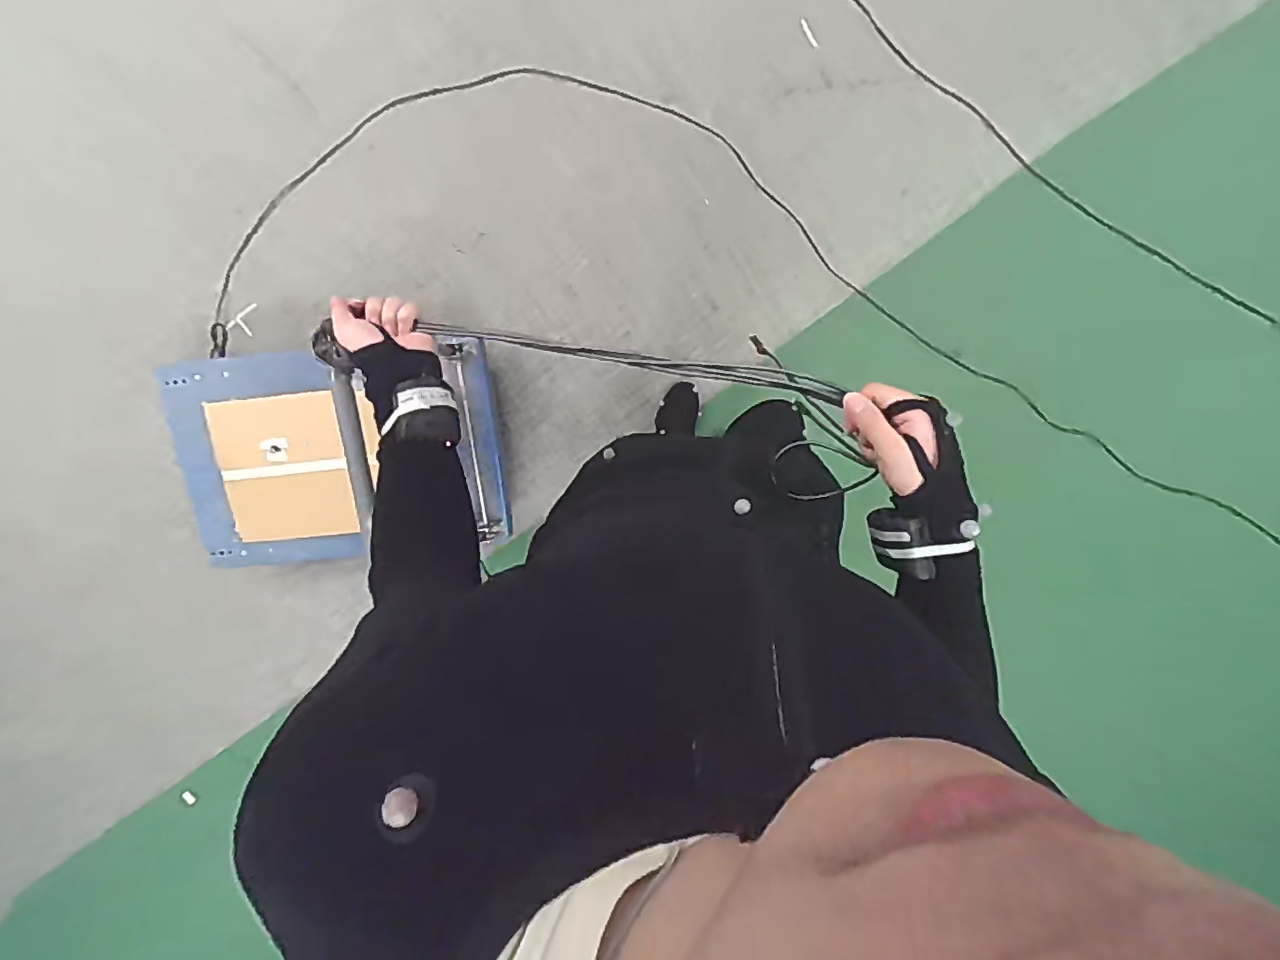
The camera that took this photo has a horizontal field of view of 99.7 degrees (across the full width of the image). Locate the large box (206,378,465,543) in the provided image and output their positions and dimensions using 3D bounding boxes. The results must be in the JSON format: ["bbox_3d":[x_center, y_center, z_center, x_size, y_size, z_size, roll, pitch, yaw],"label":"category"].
[{"bbox_3d":[-0.688,-0.063,1.292,0.408,0.320,0.320,-6,101,4],"label":"large box"}]
